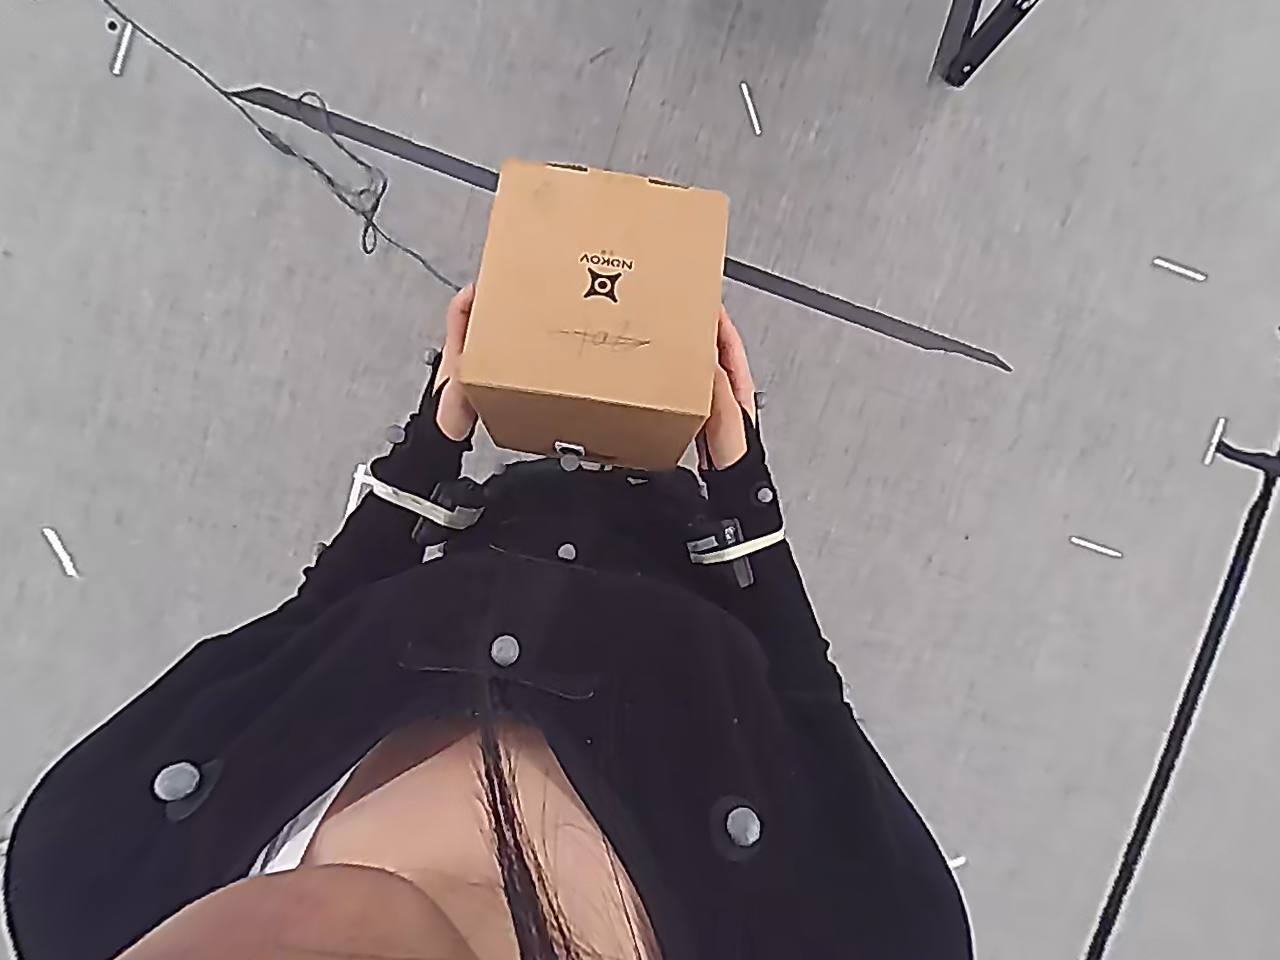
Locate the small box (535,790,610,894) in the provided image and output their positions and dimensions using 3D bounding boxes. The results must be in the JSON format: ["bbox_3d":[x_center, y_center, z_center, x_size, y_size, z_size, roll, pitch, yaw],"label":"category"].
[{"bbox_3d":[-0.177,0.960,1.446,0.179,0.176,0.168,6,92,-3],"label":"small box"}]

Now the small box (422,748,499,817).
[{"bbox_3d":[-0.487,0.852,1.427,0.168,0.176,0.179,21,91,-4],"label":"small box"}]

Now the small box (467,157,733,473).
[{"bbox_3d":[-0.029,-0.117,0.445,0.168,0.176,0.179,7,77,-4],"label":"small box"}]

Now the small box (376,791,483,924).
[{"bbox_3d":[-0.481,0.870,1.263,0.168,0.176,0.179,17,93,-3],"label":"small box"}]
